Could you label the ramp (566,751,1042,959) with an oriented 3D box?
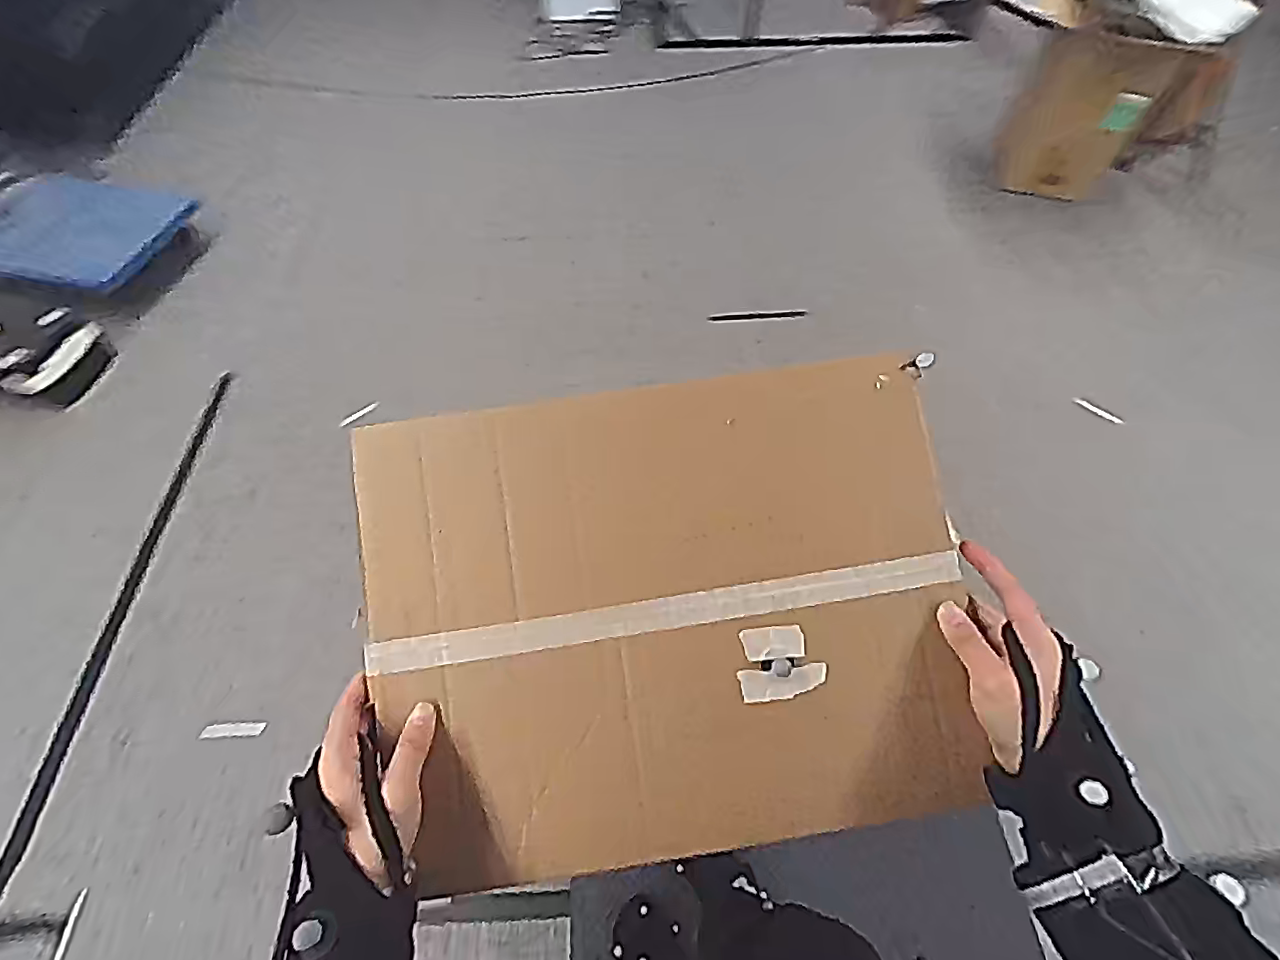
[{"bbox_3d":[0.346,0.856,1.129,0.991,0.206,0.509,-4,57,-3],"label":"ramp"}]
